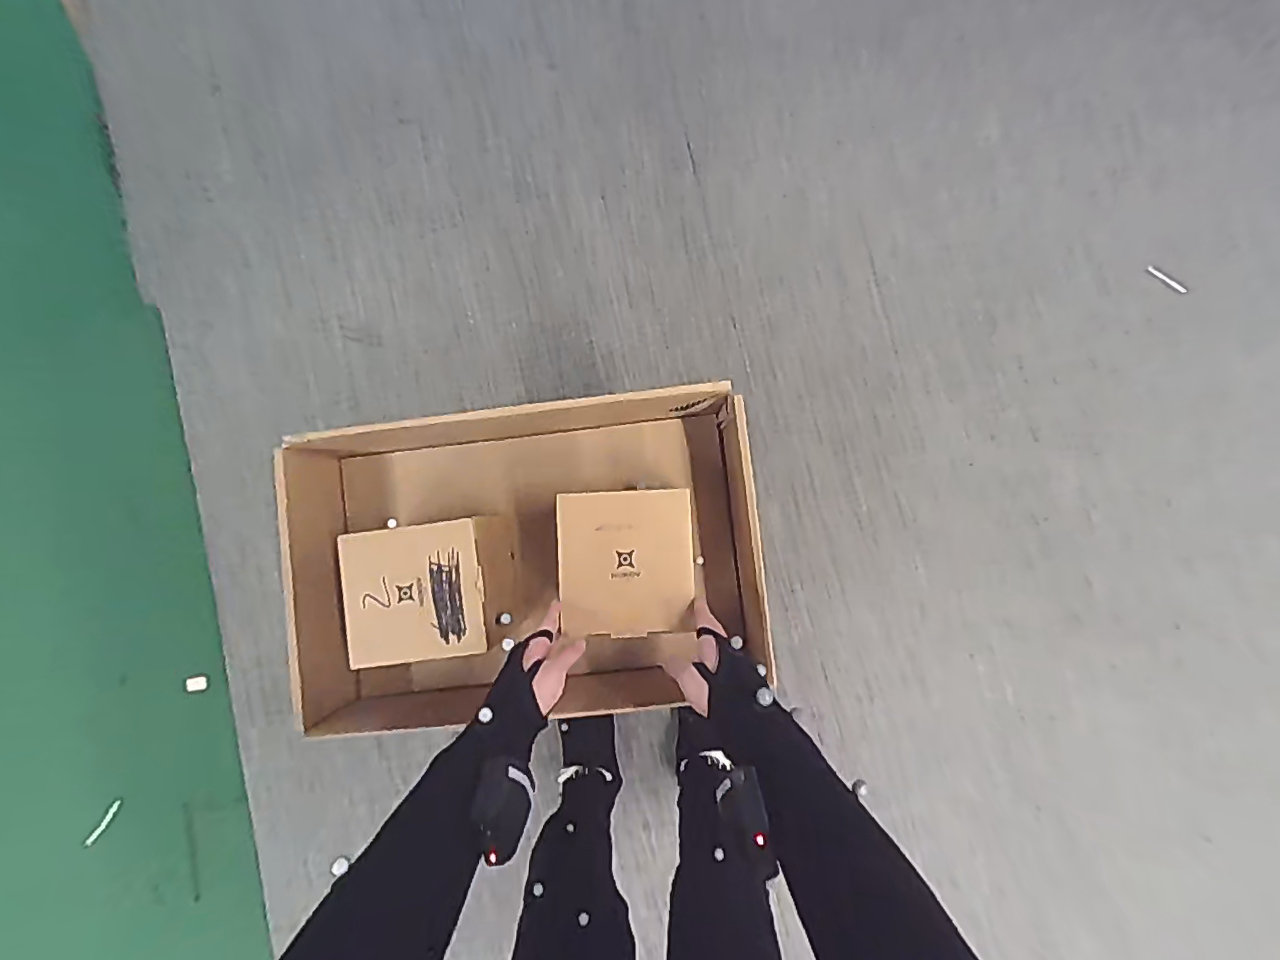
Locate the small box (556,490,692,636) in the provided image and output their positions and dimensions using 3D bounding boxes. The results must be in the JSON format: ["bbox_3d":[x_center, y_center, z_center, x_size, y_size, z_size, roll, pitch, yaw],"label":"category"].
[{"bbox_3d":[-0.015,0.104,0.740,0.168,0.176,0.179,-3,88,3],"label":"small box"}]
